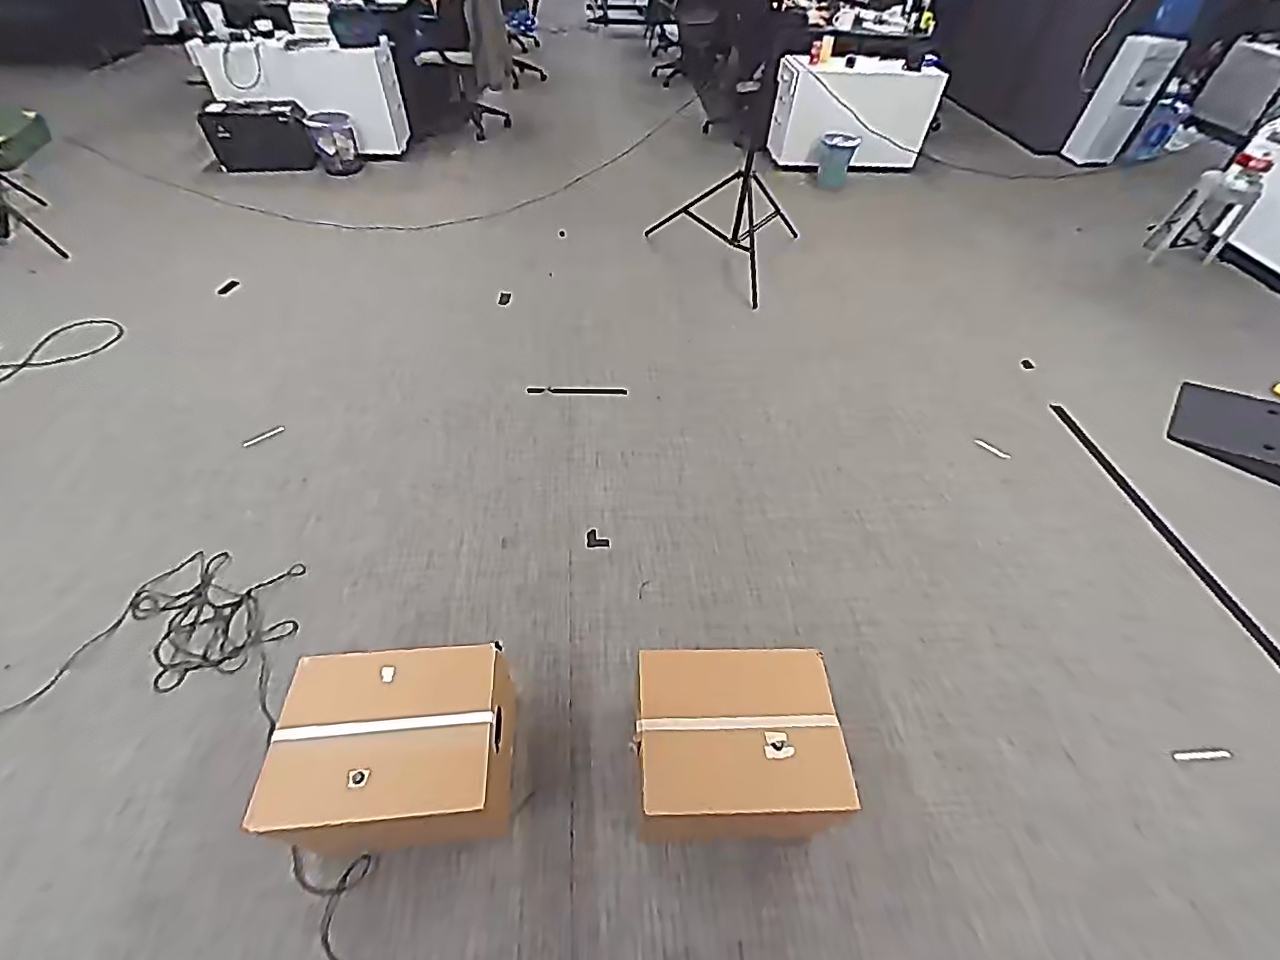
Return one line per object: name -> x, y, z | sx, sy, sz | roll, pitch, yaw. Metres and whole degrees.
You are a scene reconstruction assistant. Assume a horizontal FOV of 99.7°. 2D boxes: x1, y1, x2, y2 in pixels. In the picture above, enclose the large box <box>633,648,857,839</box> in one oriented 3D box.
large box -> 0.196, 0.589, 1.207 | 0.408, 0.320, 0.320 | 1, 49, -4
